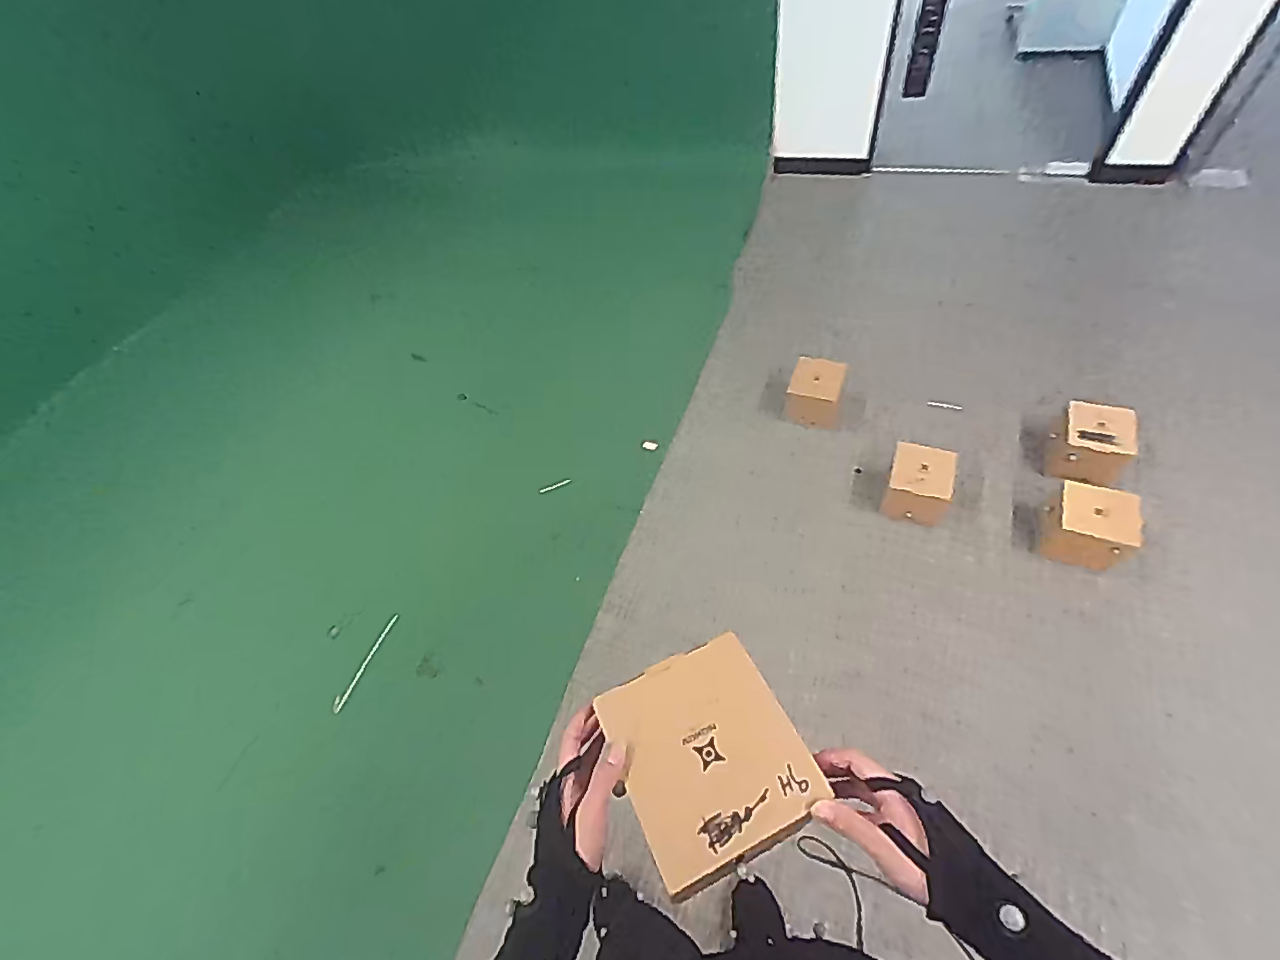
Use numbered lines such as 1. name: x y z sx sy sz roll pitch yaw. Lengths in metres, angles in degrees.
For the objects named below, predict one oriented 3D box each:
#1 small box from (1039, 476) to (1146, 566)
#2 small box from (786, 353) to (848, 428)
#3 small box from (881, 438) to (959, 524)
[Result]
1. small box: 1.233 0.117 1.485 0.179 0.176 0.168 16 61 19
2. small box: 0.613 -0.310 1.889 0.168 0.176 0.179 15 62 21
3. small box: 0.840 0.004 1.634 0.168 0.176 0.179 15 61 20
